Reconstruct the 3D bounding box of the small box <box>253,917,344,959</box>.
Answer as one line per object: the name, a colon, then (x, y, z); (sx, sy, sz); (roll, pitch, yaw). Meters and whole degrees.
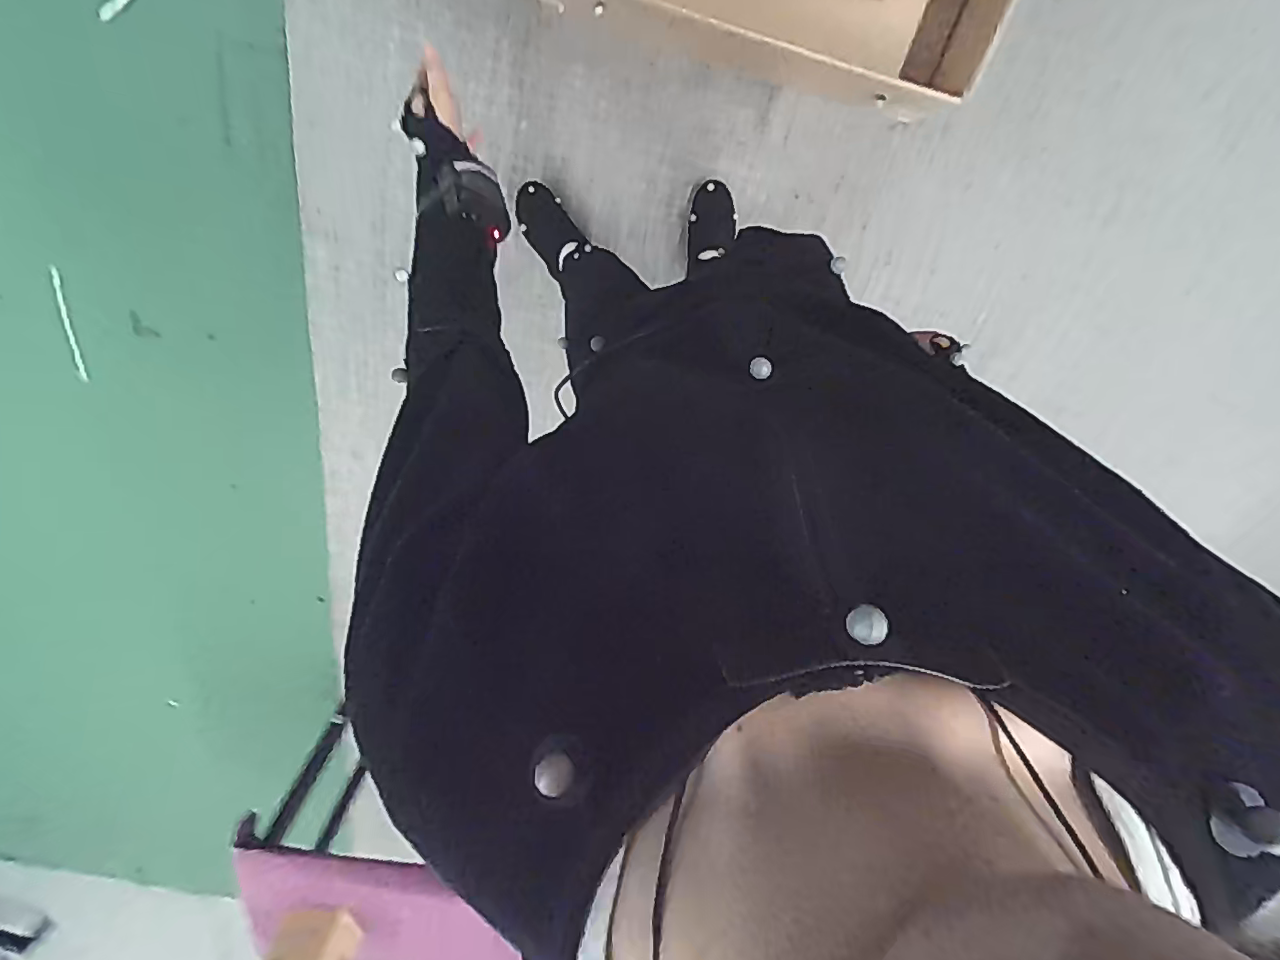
small box: (-0.950, 1.338, 1.489); (0.179, 0.176, 0.168); (-4, 120, 4)
